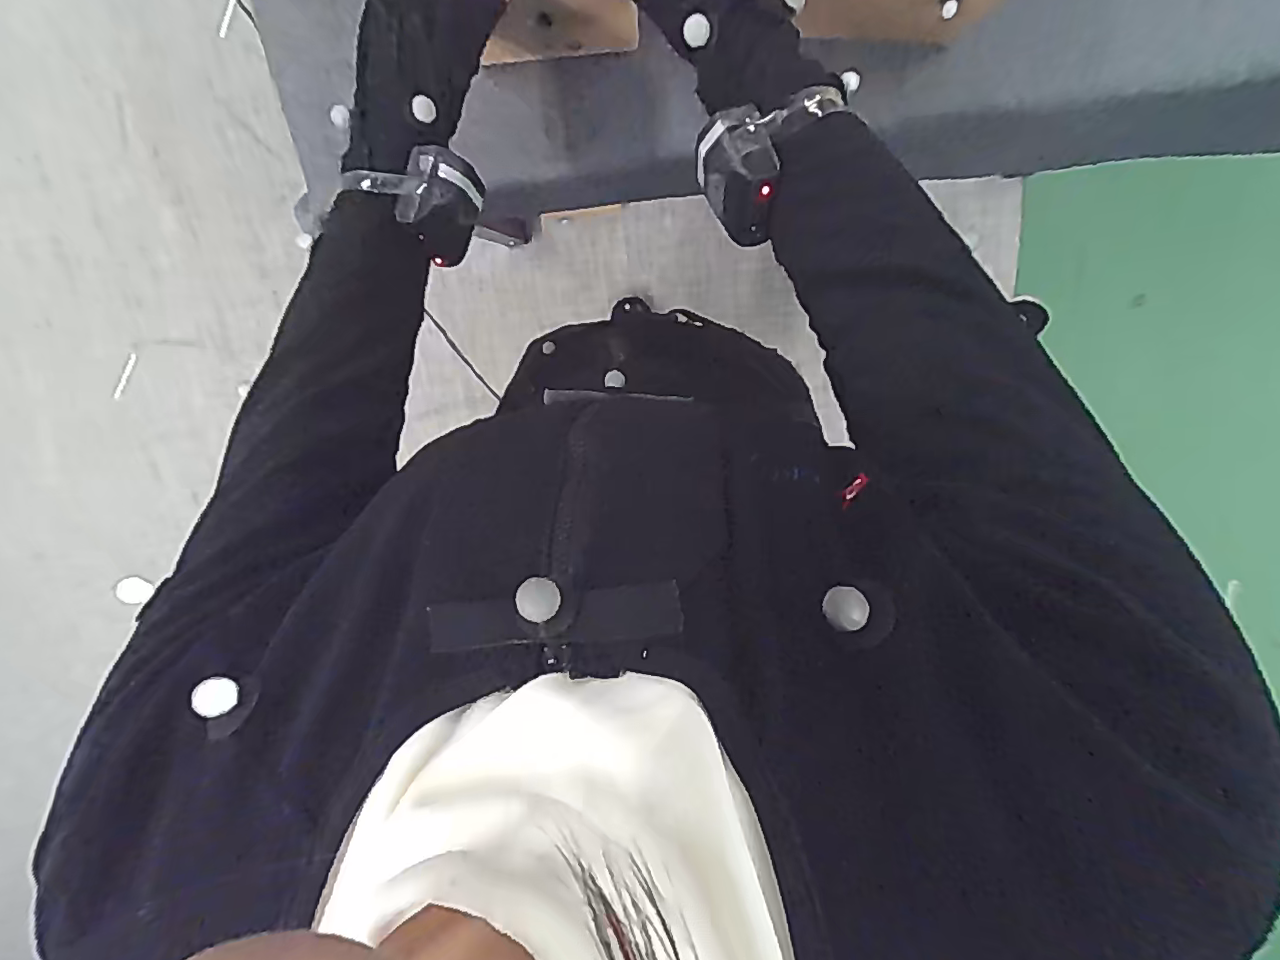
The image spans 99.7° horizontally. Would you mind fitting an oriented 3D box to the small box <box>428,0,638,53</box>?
[{"bbox_3d":[-0.090,-0.475,0.434,0.168,0.176,0.179,-4,110,2],"label":"small box"}]
